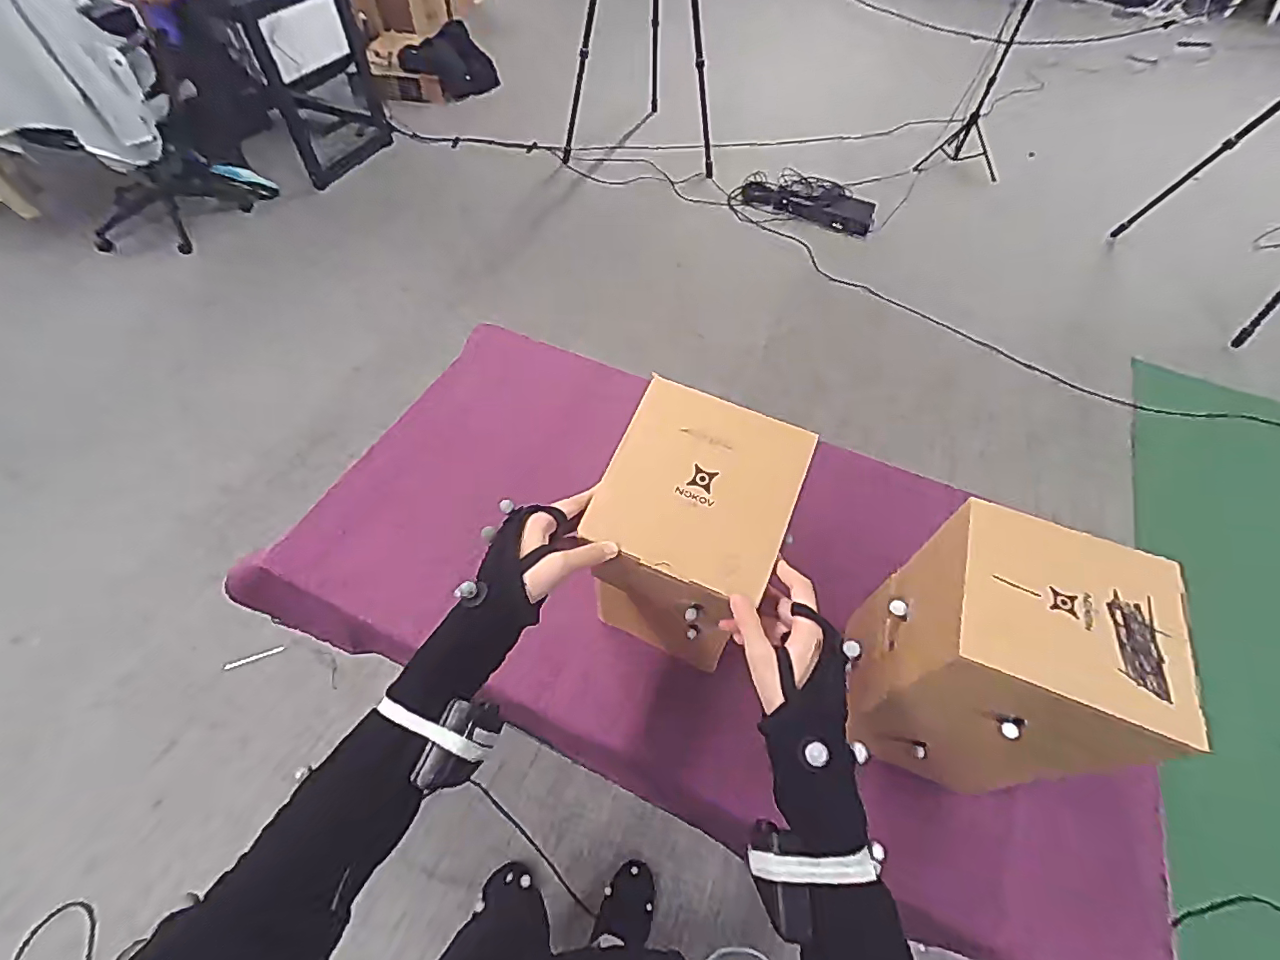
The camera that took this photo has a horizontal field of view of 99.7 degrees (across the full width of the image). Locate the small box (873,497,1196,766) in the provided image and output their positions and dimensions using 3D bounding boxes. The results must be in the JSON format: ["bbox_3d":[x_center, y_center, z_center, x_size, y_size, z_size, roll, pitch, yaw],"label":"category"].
[{"bbox_3d":[0.350,0.149,0.513,0.179,0.176,0.168,20,56,13],"label":"small box"}]

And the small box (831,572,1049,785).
[{"bbox_3d":[0.347,0.242,0.648,0.179,0.176,0.168,19,56,12],"label":"small box"}]

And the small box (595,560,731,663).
[{"bbox_3d":[0.054,0.121,0.727,0.179,0.176,0.168,23,56,12],"label":"small box"}]

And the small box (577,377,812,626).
[{"bbox_3d":[0.055,0.032,0.558,0.168,0.176,0.179,22,68,10],"label":"small box"}]
